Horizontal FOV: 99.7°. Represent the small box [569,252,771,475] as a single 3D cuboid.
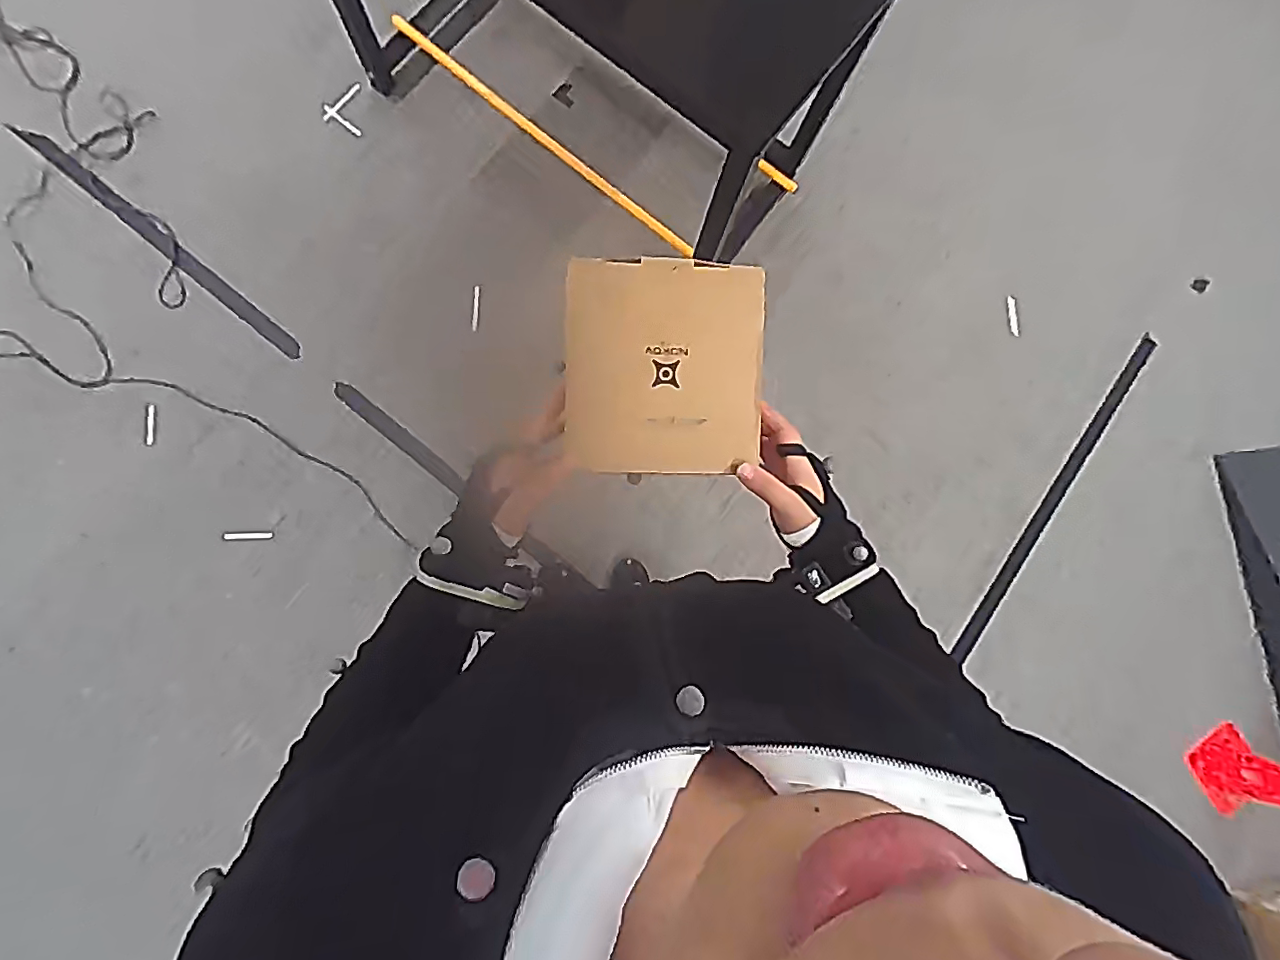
[{"bbox_3d":[0.017,-0.097,0.518,0.168,0.176,0.179,1,94,-6],"label":"small box"}]
